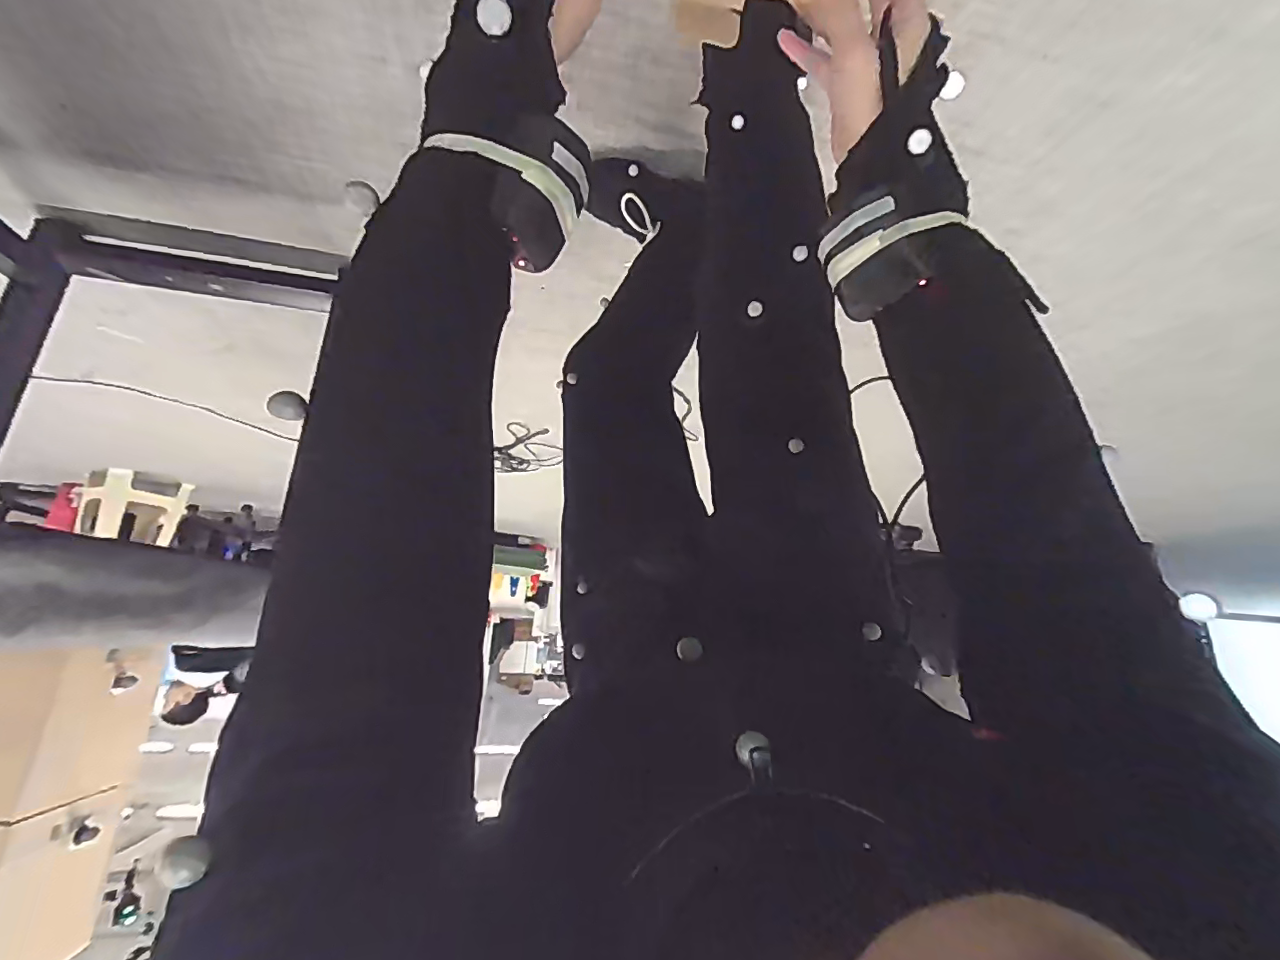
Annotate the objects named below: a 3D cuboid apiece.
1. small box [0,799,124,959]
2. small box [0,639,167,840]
[{"bbox_3d":[-0.664,0.412,0.517,0.179,0.176,0.168,4,164,-10],"label":"small box"},{"bbox_3d":[-0.658,0.257,0.566,0.179,0.176,0.168,5,163,-10],"label":"small box"}]
